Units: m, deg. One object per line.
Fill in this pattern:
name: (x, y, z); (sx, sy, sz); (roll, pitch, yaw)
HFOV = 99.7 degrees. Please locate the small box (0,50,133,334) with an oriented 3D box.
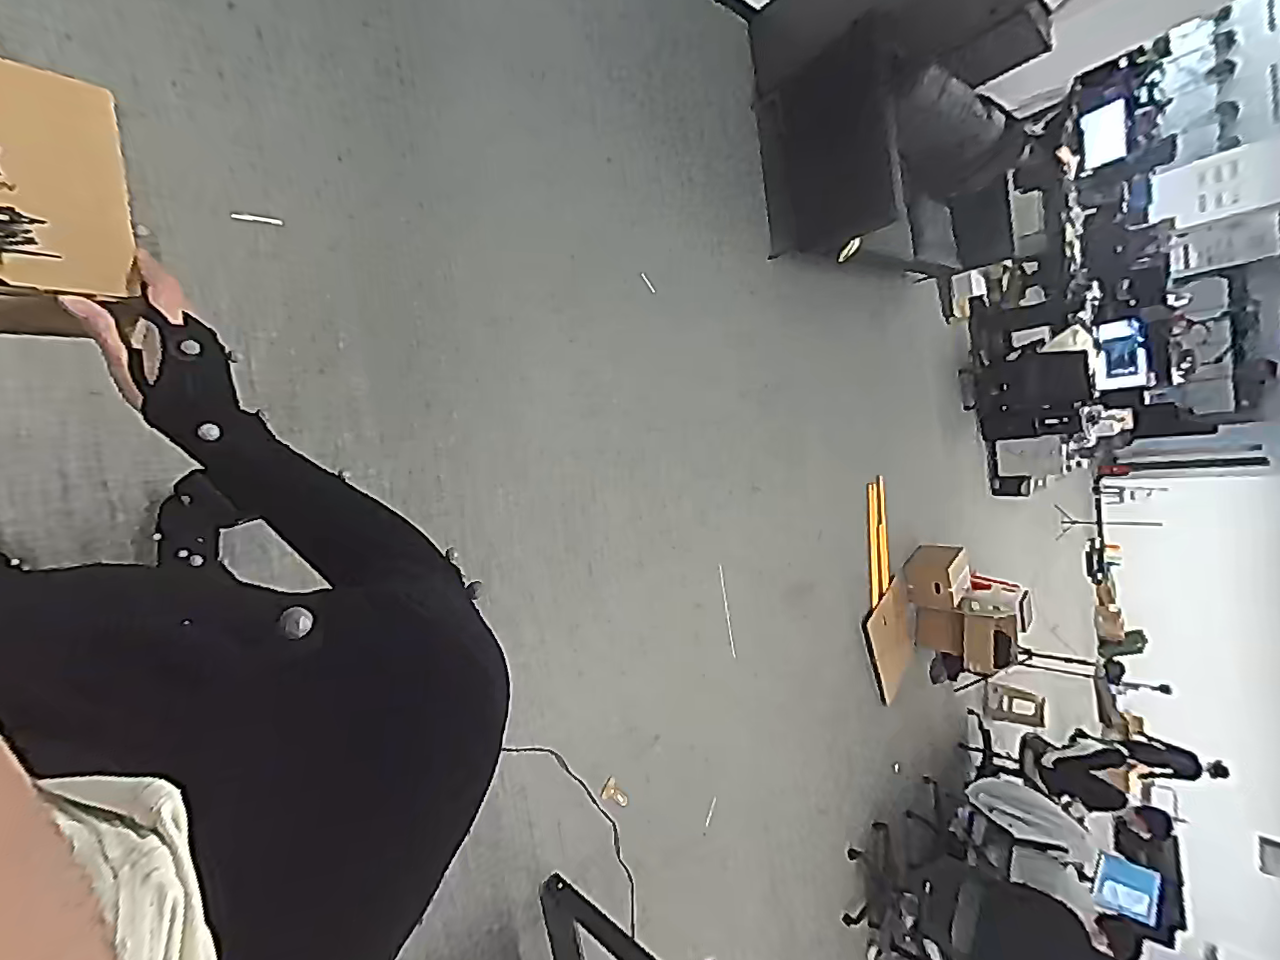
small box: (-0.532, -0.224, 0.436); (0.168, 0.176, 0.179); (-8, 95, -45)
